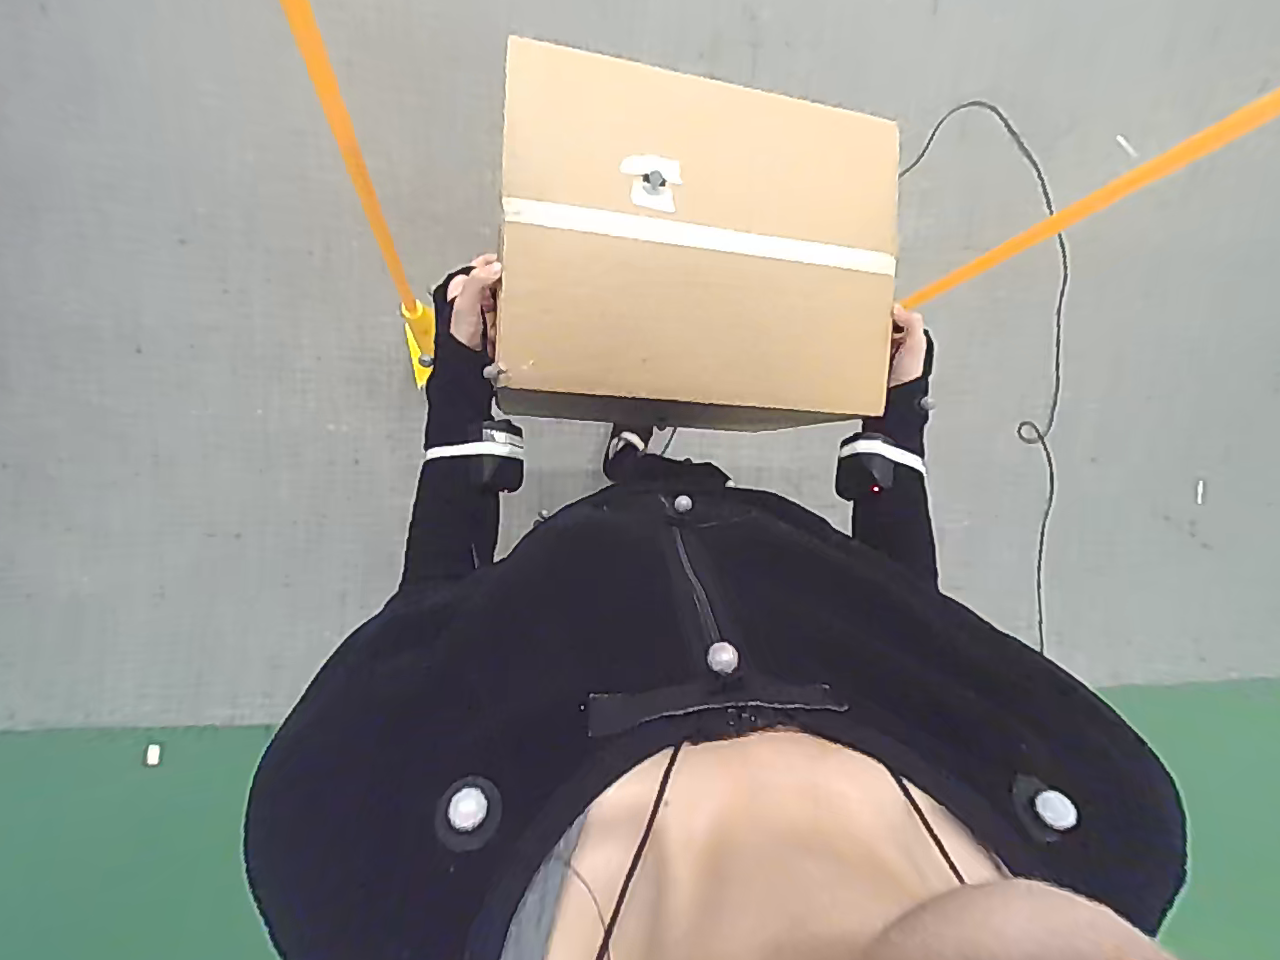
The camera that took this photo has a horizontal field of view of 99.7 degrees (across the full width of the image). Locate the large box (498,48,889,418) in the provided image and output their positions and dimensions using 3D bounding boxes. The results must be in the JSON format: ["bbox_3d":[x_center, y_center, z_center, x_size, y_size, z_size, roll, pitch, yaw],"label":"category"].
[{"bbox_3d":[0.036,-0.245,0.684,0.408,0.320,0.320,2,91,-13],"label":"large box"}]
